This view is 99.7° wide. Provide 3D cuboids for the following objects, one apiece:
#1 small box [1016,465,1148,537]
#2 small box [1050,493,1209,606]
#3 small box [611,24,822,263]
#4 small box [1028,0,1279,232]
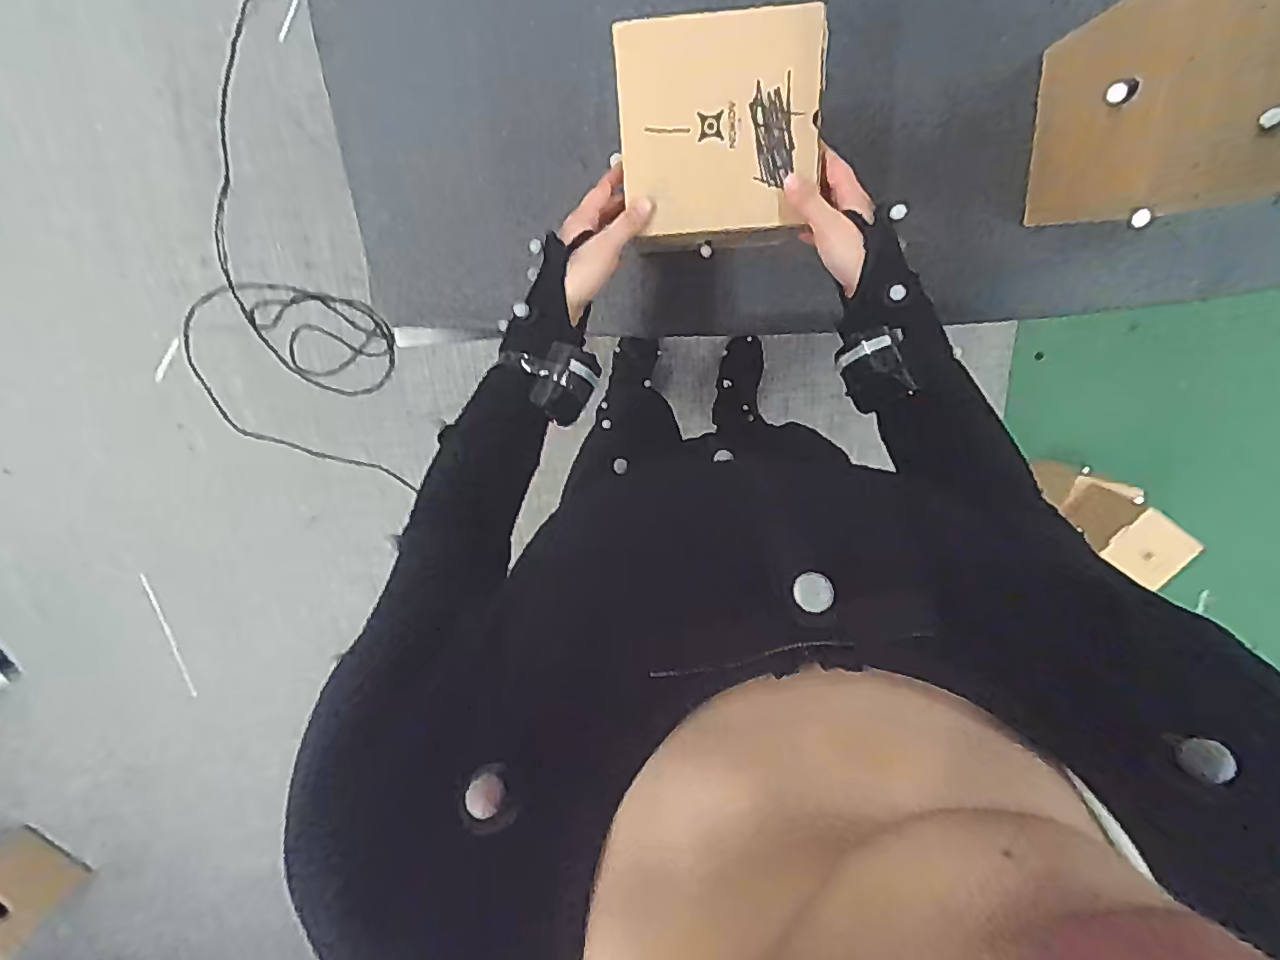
[{"bbox_3d":[1.128,0.070,1.399,0.179,0.176,0.168,12,109,-2],"label":"small box"},{"bbox_3d":[1.119,0.151,1.255,0.179,0.176,0.168,32,108,-9],"label":"small box"},{"bbox_3d":[0.068,-0.315,0.542,0.179,0.176,0.168,-3,108,4],"label":"small box"},{"bbox_3d":[0.512,-0.343,0.518,0.168,0.176,0.179,-4,106,3],"label":"small box"}]
